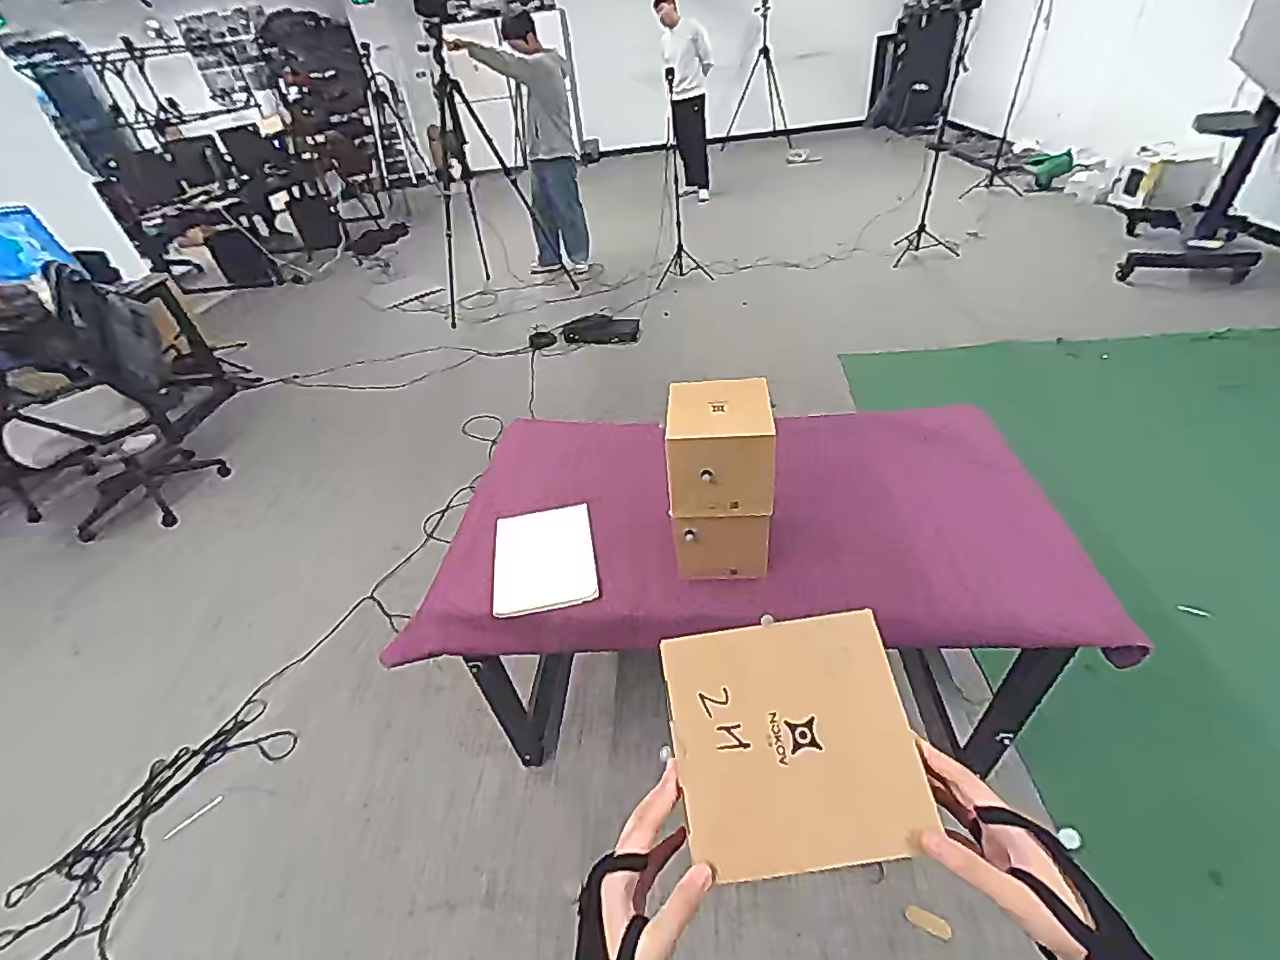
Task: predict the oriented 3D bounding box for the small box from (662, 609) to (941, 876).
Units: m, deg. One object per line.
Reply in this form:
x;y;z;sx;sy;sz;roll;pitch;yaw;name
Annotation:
0.117;0.223;0.473;0.179;0.176;0.168;-9;62;1;small box

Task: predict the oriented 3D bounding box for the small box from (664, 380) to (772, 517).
0.134;-0.050;0.917;0.168;0.176;0.179;-2;38;8;small box
